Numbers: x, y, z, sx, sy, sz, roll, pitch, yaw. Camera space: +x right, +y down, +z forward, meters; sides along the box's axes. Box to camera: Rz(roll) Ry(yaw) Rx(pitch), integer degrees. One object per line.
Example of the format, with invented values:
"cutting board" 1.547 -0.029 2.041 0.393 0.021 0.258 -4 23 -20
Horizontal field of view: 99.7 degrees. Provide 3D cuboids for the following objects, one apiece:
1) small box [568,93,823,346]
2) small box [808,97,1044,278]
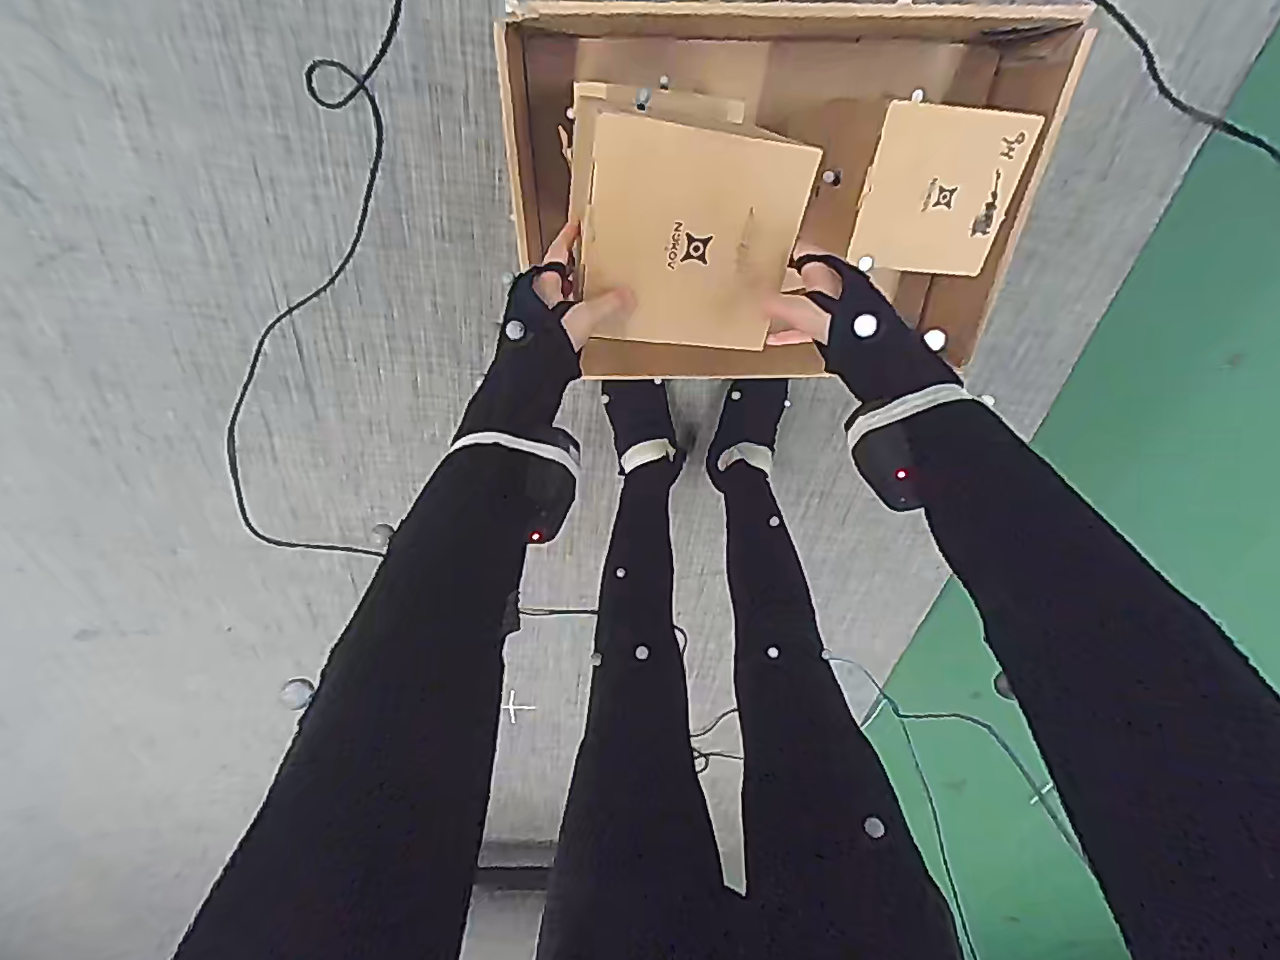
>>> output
"small box" 0.029 -0.241 0.499 0.179 0.176 0.168 2 126 -14
"small box" 0.331 -0.365 0.674 0.179 0.176 0.168 4 125 -5
